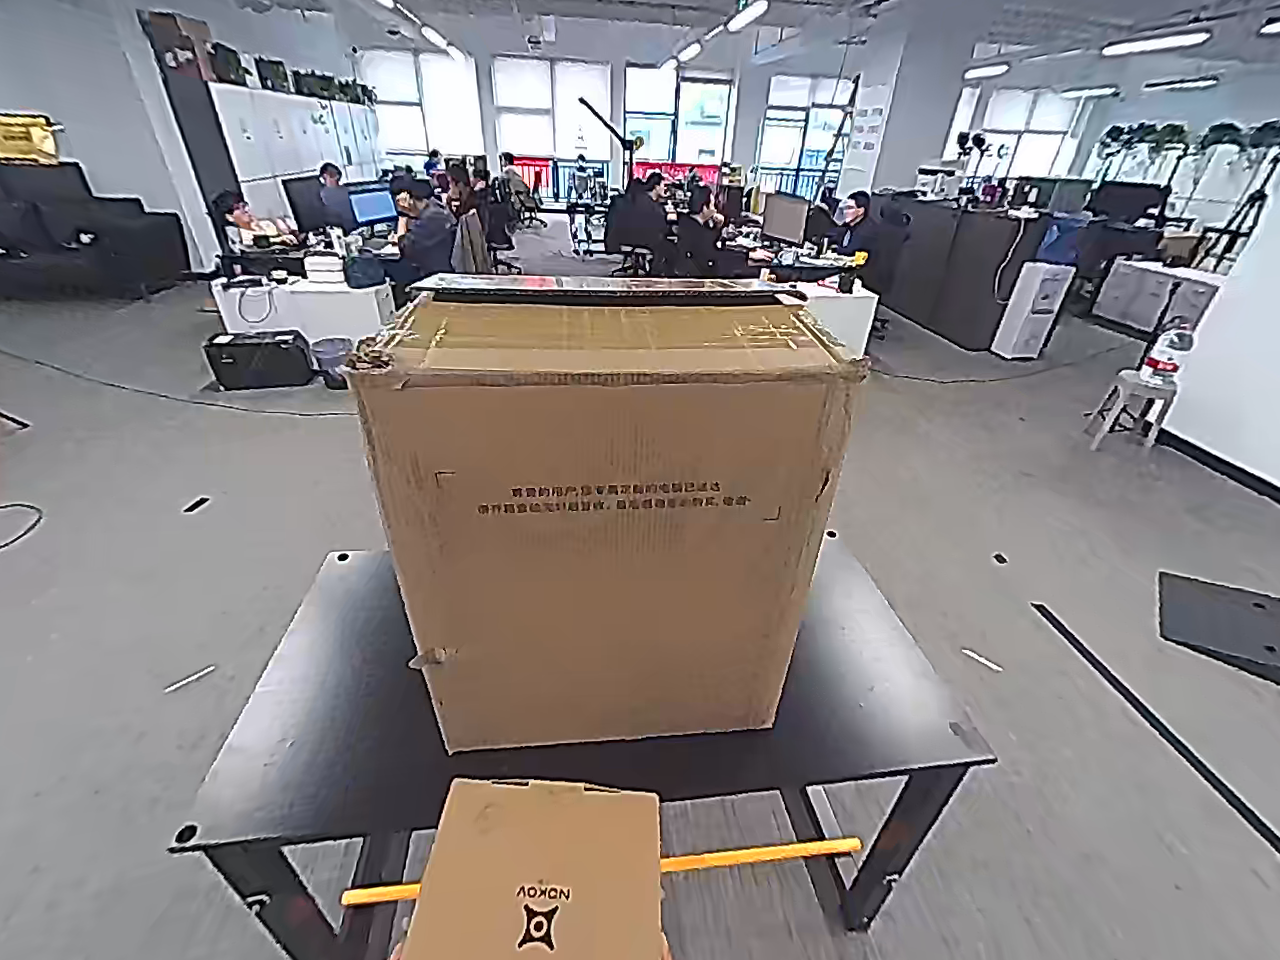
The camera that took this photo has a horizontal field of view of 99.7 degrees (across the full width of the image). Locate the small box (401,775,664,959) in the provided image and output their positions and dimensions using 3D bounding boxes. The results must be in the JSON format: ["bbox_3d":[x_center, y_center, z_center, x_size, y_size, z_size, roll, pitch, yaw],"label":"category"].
[{"bbox_3d":[-0.076,0.354,0.400,0.168,0.176,0.179,6,34,-3],"label":"small box"}]
